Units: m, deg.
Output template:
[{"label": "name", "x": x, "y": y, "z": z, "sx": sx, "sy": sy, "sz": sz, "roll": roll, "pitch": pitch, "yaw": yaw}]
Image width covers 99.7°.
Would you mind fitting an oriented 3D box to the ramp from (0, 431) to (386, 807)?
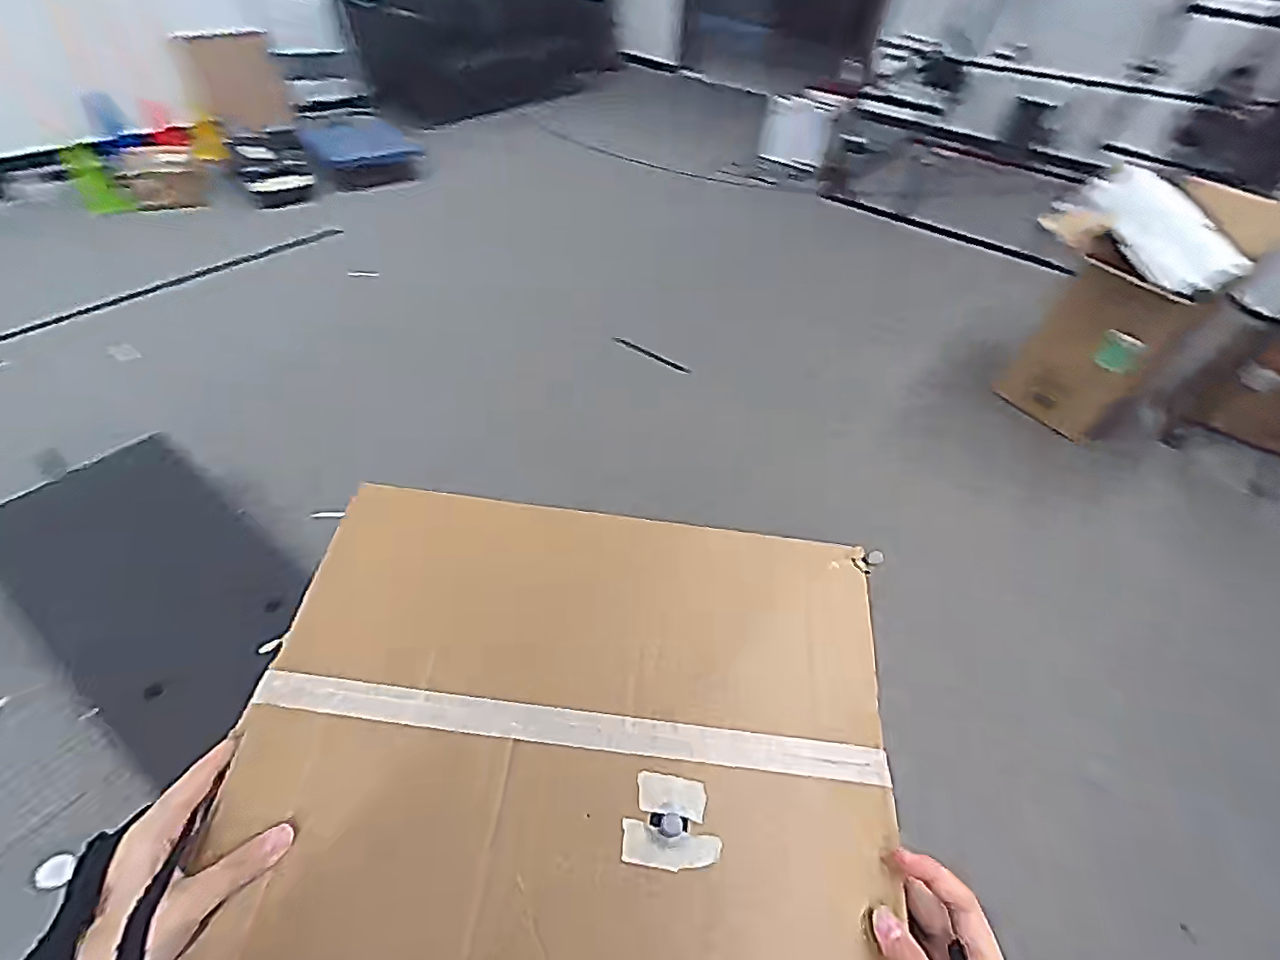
[{"label": "ramp", "x": -1.187, "y": 0.279, "z": 1.414, "sx": 0.991, "sy": 0.206, "sz": 0.509, "roll": 31, "pitch": 50, "yaw": 21}]
